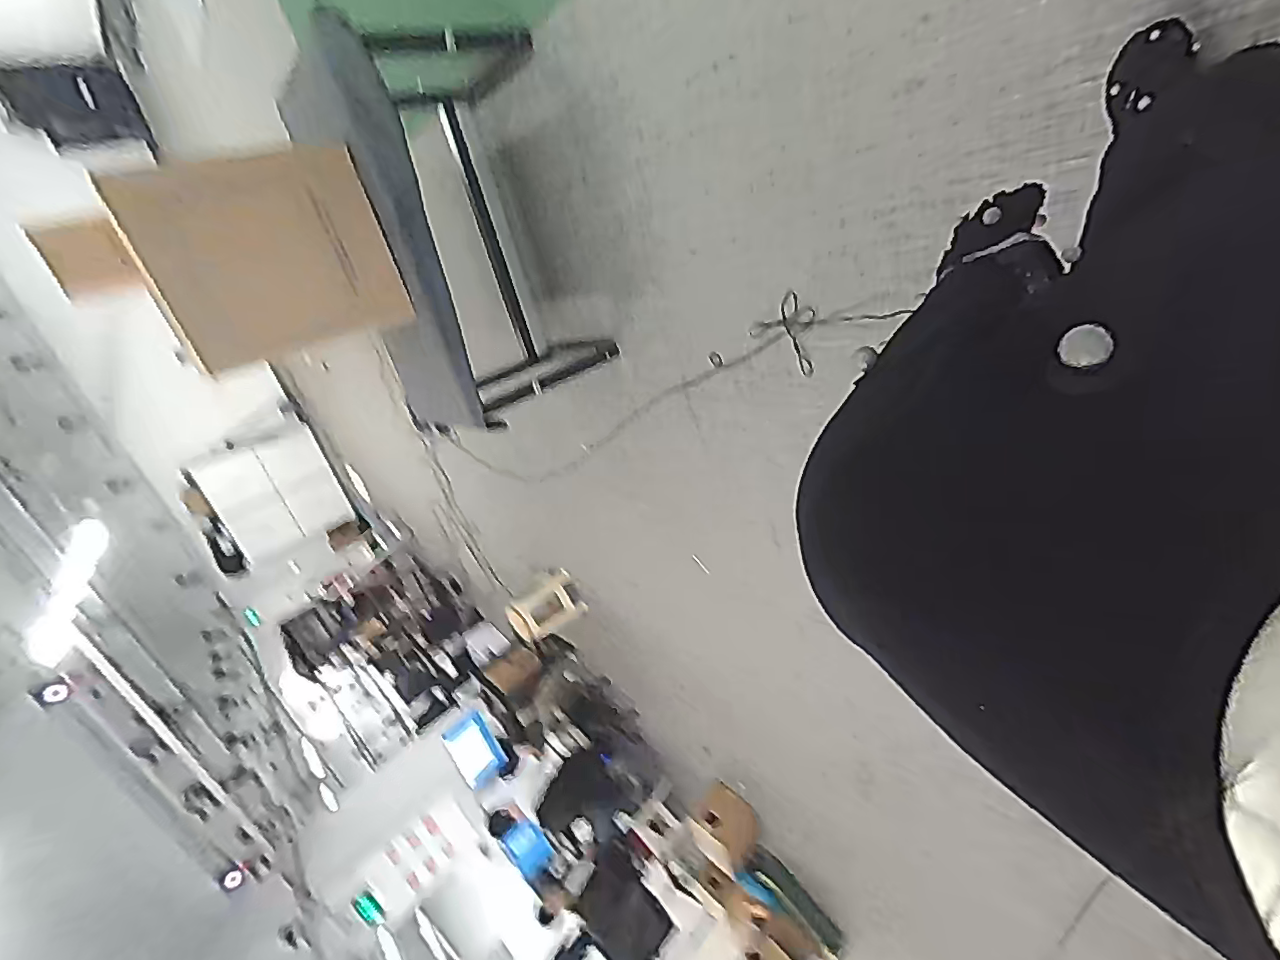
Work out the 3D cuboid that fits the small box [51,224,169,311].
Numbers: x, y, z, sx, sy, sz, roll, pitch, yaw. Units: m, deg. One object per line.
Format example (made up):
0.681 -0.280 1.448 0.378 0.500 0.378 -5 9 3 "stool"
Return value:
-1.433 -0.581 1.478 0.179 0.176 0.168 6 121 51 "small box"
